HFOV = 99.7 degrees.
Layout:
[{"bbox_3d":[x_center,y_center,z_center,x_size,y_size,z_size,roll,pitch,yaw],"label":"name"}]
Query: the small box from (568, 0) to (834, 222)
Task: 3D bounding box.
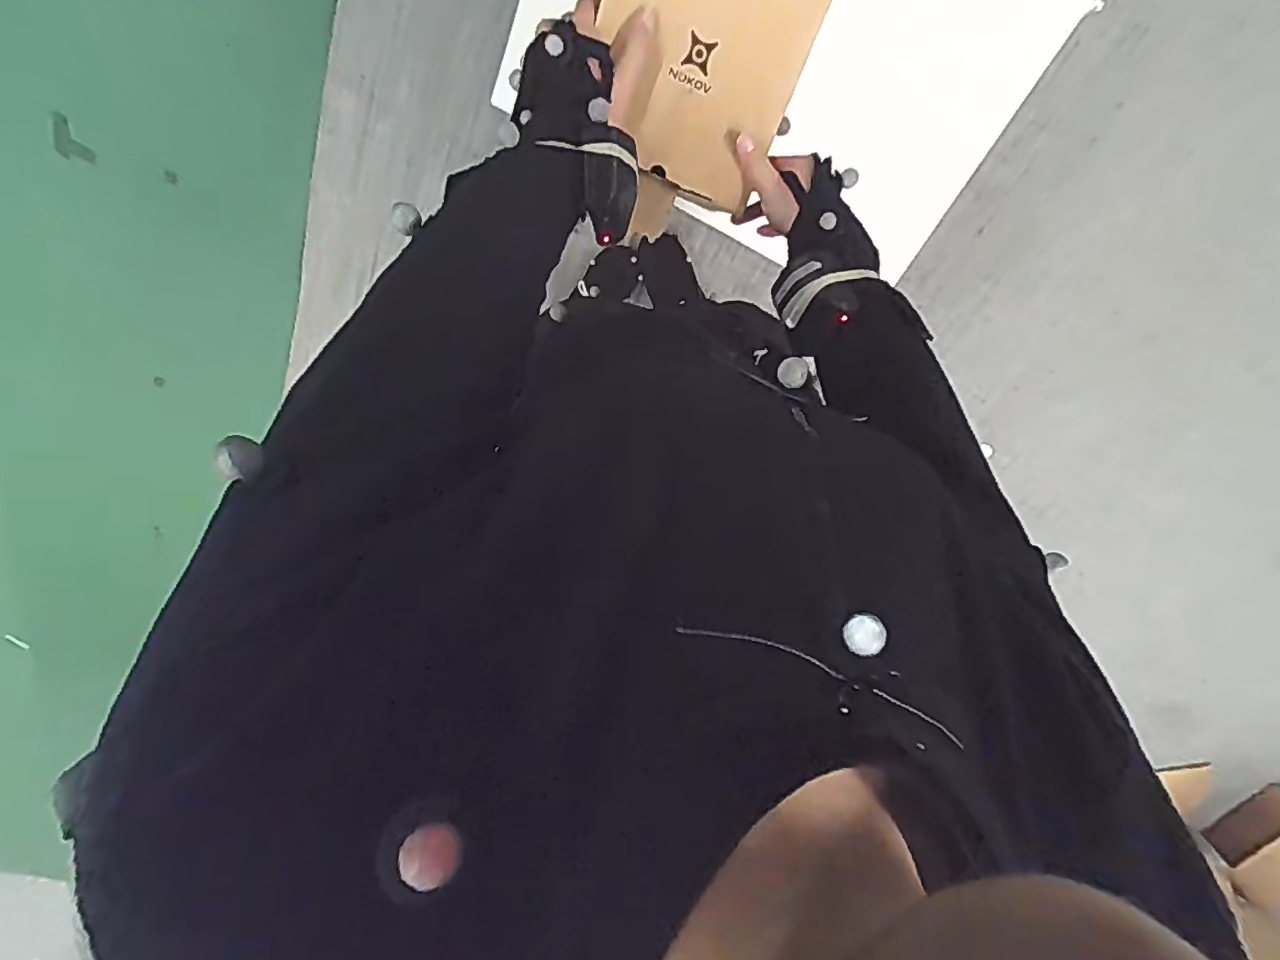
[{"bbox_3d":[0.040,-0.364,0.497,0.168,0.176,0.179,17,118,-12],"label":"small box"}]
